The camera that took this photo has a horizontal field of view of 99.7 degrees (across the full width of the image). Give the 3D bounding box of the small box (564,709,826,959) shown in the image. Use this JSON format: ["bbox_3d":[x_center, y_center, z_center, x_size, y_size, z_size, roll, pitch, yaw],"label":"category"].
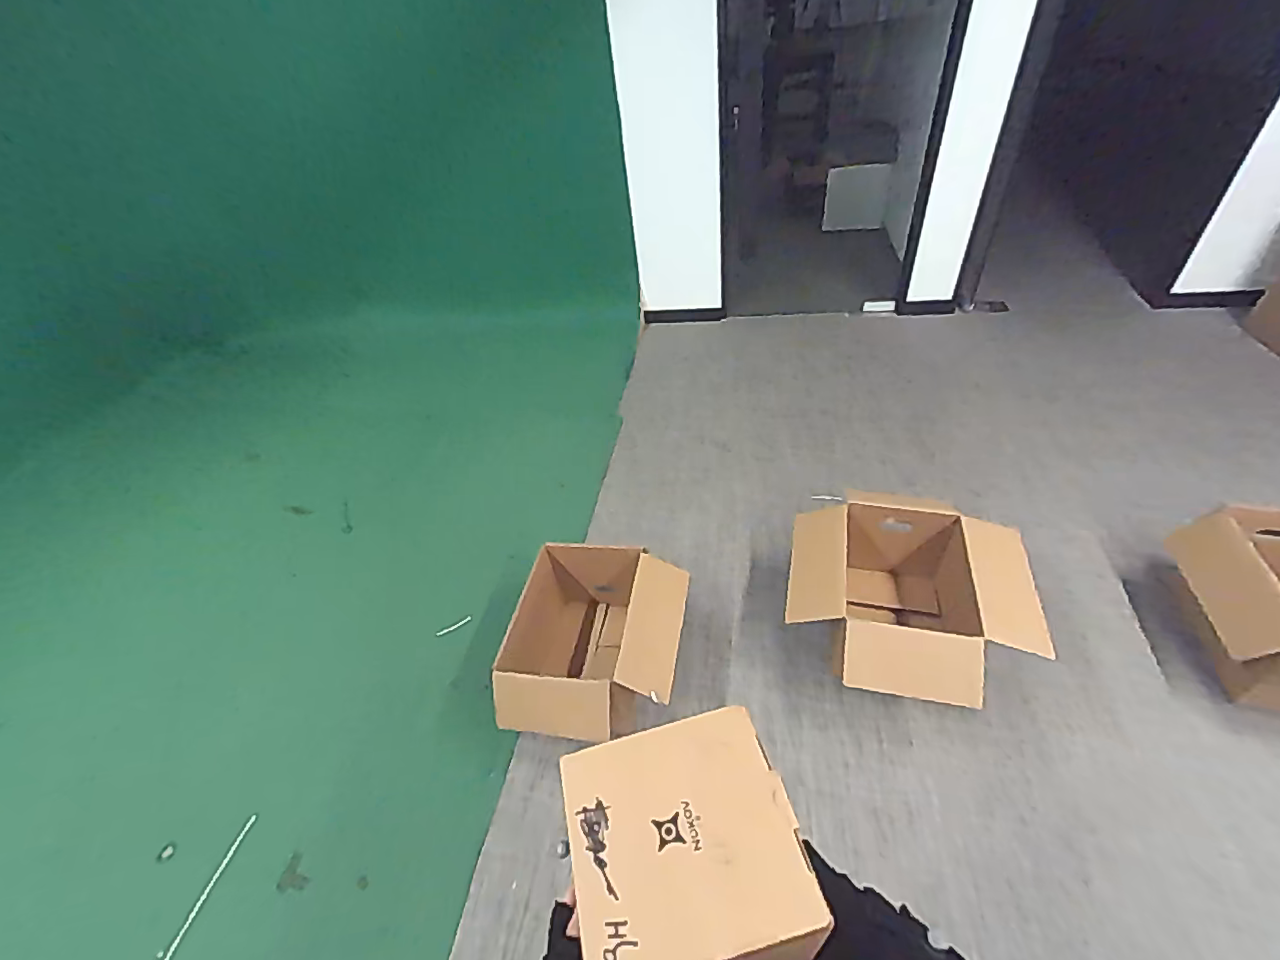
[{"bbox_3d":[0.038,0.338,0.481,0.179,0.176,0.168,-12,40,-6],"label":"small box"}]
